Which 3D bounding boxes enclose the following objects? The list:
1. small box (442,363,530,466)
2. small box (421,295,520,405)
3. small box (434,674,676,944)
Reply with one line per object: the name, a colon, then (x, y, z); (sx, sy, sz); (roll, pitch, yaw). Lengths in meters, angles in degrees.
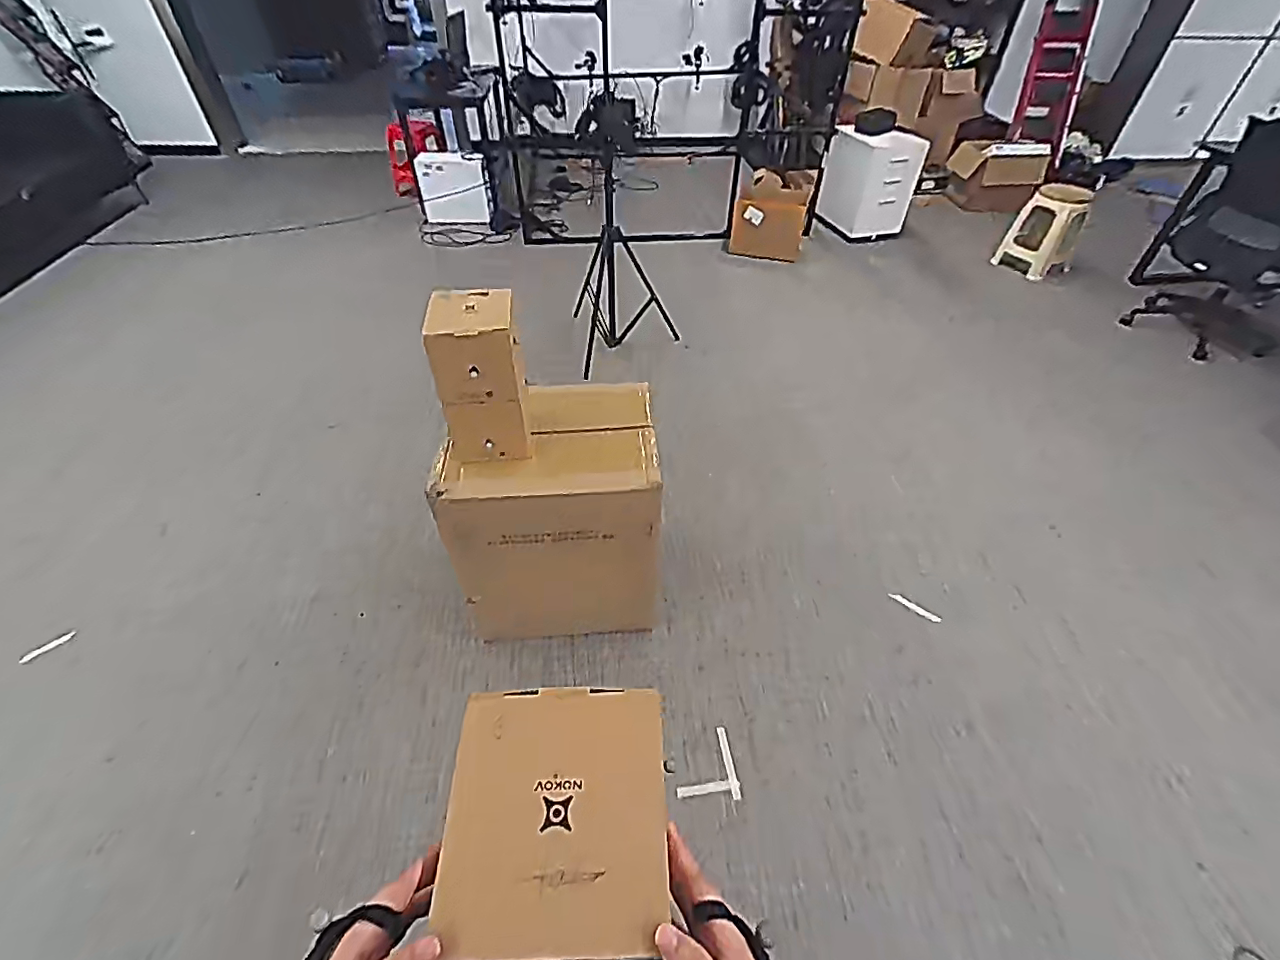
small box: (-0.350, -0.153, 1.261); (0.168, 0.176, 0.179); (-4, 46, -6)
small box: (-0.348, -0.270, 1.146); (0.168, 0.176, 0.179); (-5, 46, -7)
small box: (-0.059, 0.290, 0.476); (0.168, 0.176, 0.179); (-1, 49, -1)
